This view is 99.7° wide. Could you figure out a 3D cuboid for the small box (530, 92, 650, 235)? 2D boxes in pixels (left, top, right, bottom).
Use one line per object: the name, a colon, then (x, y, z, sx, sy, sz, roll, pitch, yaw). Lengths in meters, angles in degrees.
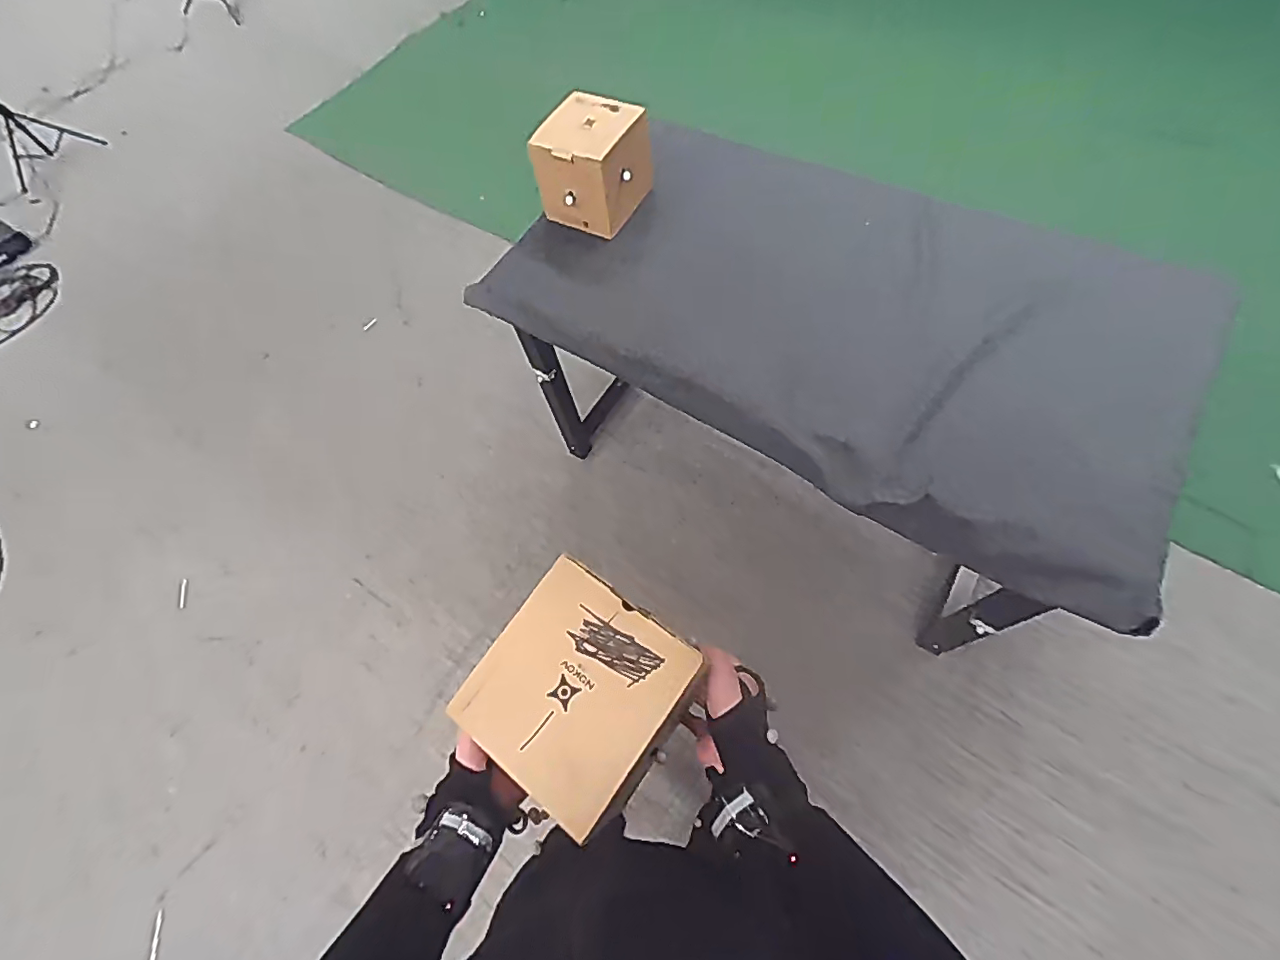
small box: (-0.089, -0.631, 1.089, 0.168, 0.176, 0.179, 25, 70, 16)
